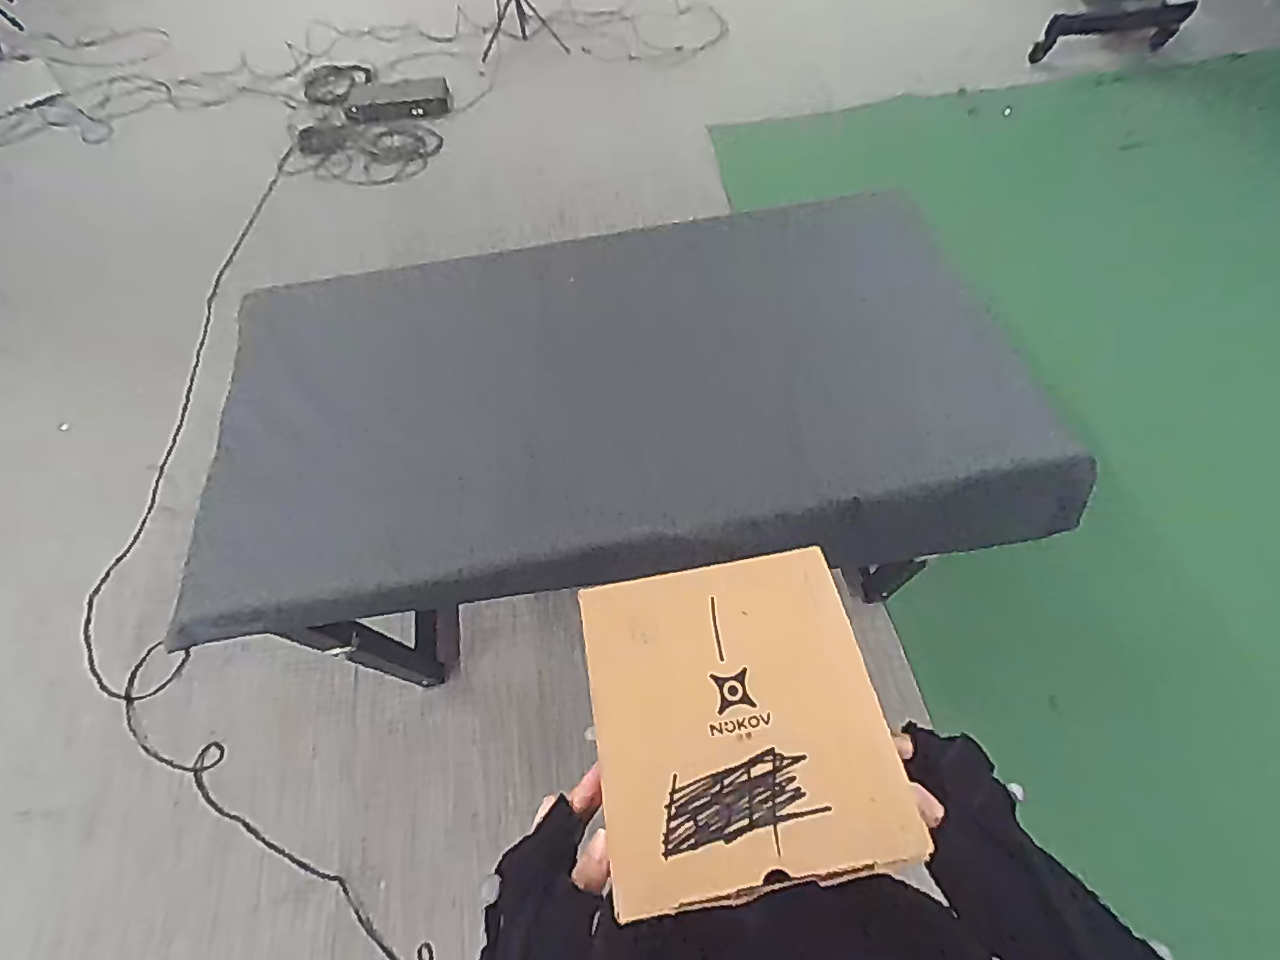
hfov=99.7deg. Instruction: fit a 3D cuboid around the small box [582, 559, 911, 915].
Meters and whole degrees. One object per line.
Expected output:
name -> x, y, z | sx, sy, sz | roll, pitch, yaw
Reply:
small box -> 0.057, 0.179, 0.392 | 0.168, 0.176, 0.179 | -9, 59, -2
